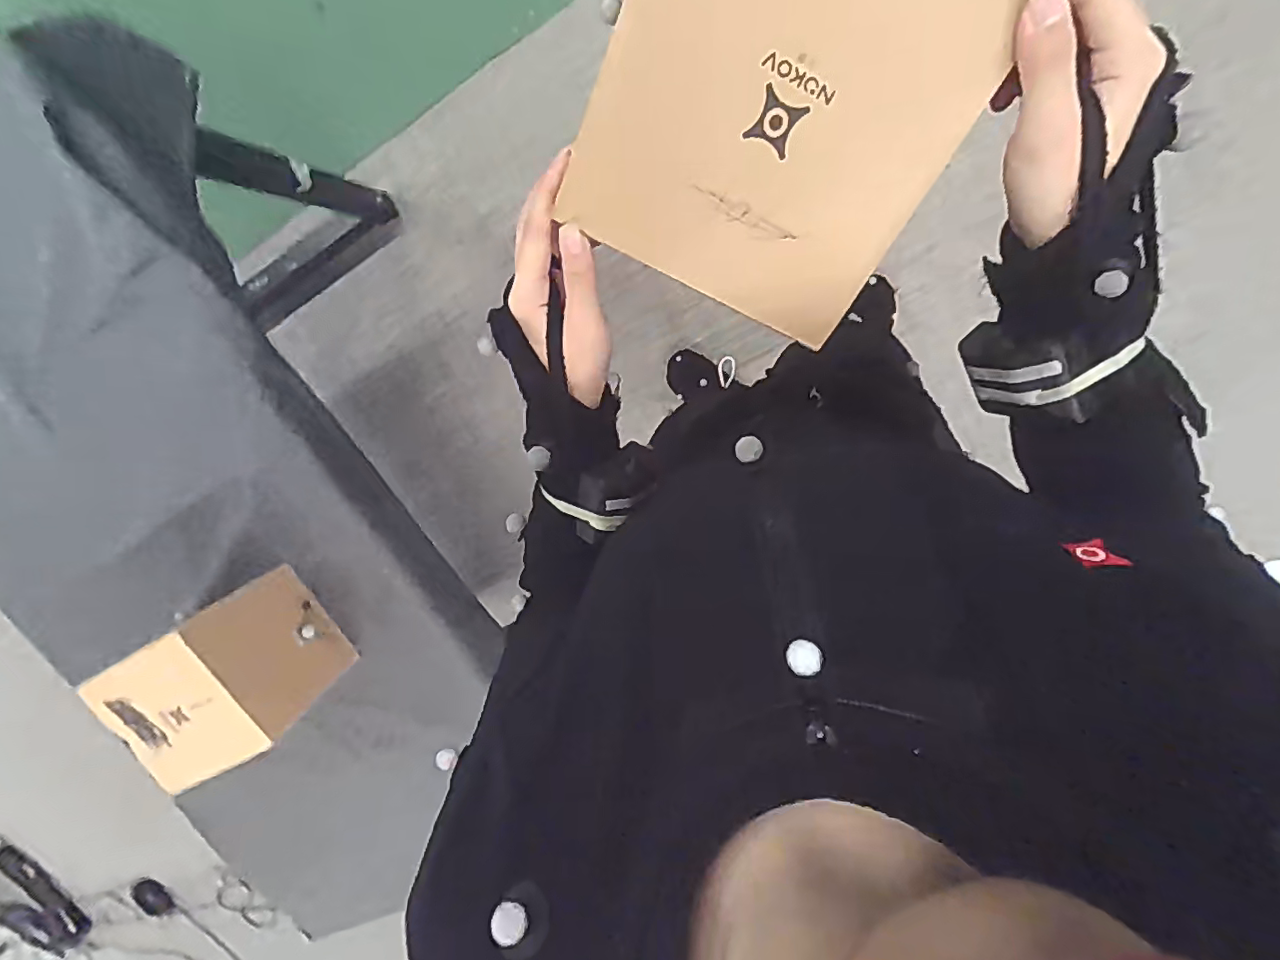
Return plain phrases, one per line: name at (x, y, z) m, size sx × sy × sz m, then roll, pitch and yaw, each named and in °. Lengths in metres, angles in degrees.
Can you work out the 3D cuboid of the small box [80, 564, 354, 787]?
small box at (-0.512, 0.237, 0.683) m, size 0.179 × 0.176 × 0.168 m, roll -28°, pitch 103°, yaw 13°
